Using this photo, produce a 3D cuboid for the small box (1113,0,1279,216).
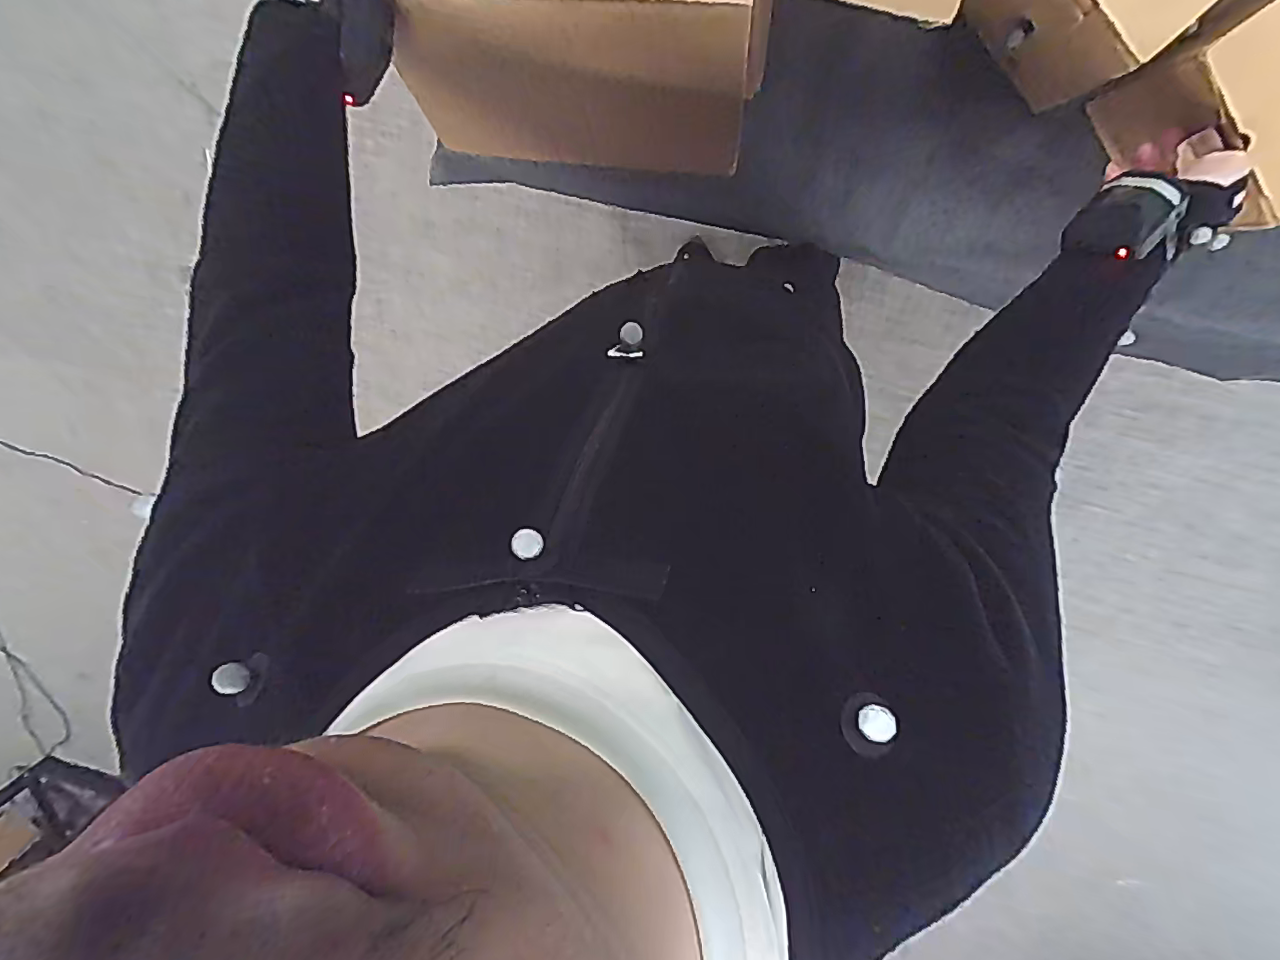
[{"bbox_3d":[0.579,-0.359,0.481,0.179,0.176,0.168,-35,104,22],"label":"small box"}]
